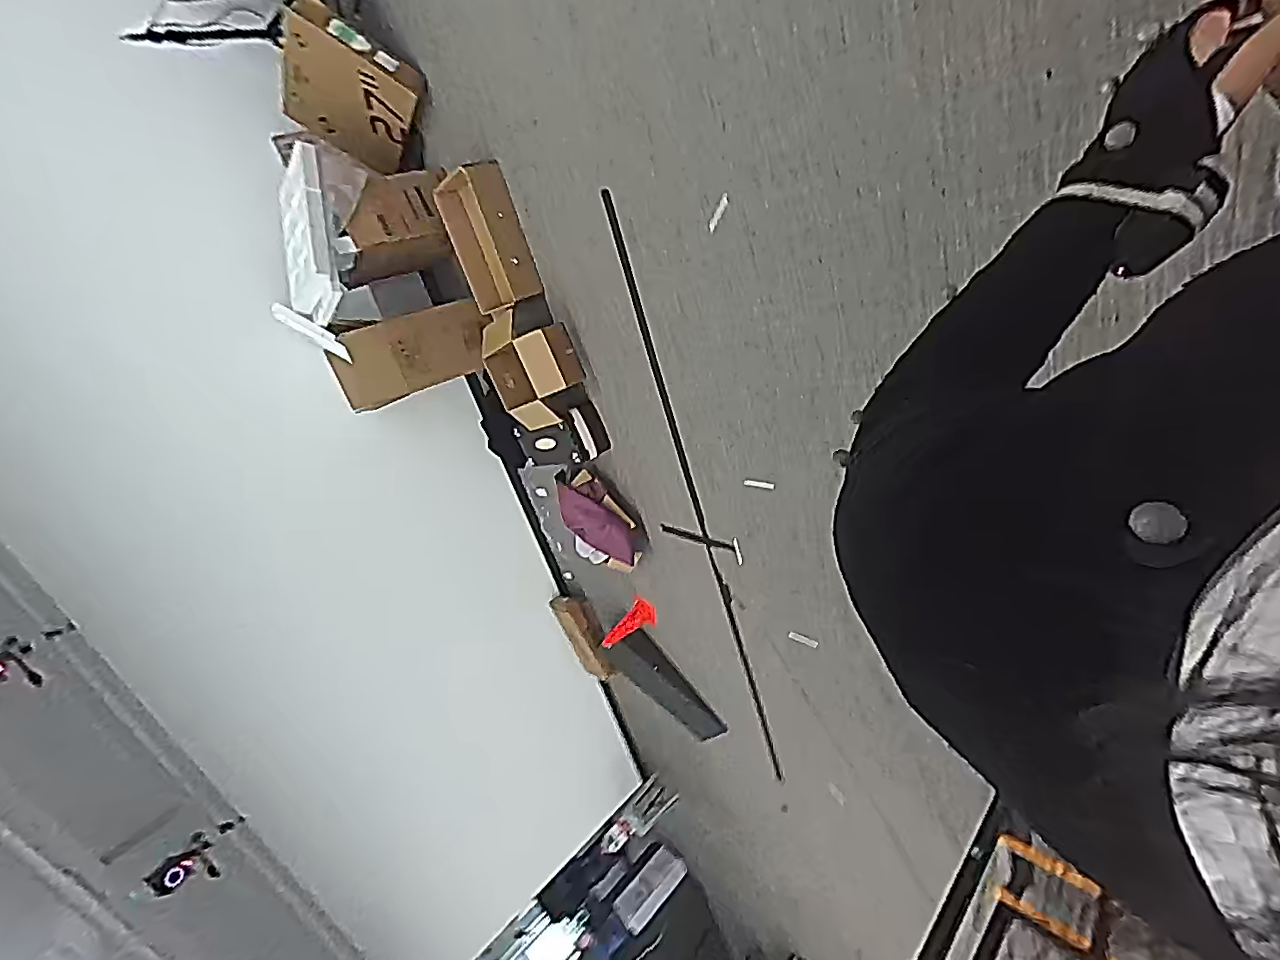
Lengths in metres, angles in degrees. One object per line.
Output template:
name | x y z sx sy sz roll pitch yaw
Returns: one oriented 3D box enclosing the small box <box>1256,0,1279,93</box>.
small box | 0.520 -0.360 0.334 0.168 0.176 0.179 3 103 56
